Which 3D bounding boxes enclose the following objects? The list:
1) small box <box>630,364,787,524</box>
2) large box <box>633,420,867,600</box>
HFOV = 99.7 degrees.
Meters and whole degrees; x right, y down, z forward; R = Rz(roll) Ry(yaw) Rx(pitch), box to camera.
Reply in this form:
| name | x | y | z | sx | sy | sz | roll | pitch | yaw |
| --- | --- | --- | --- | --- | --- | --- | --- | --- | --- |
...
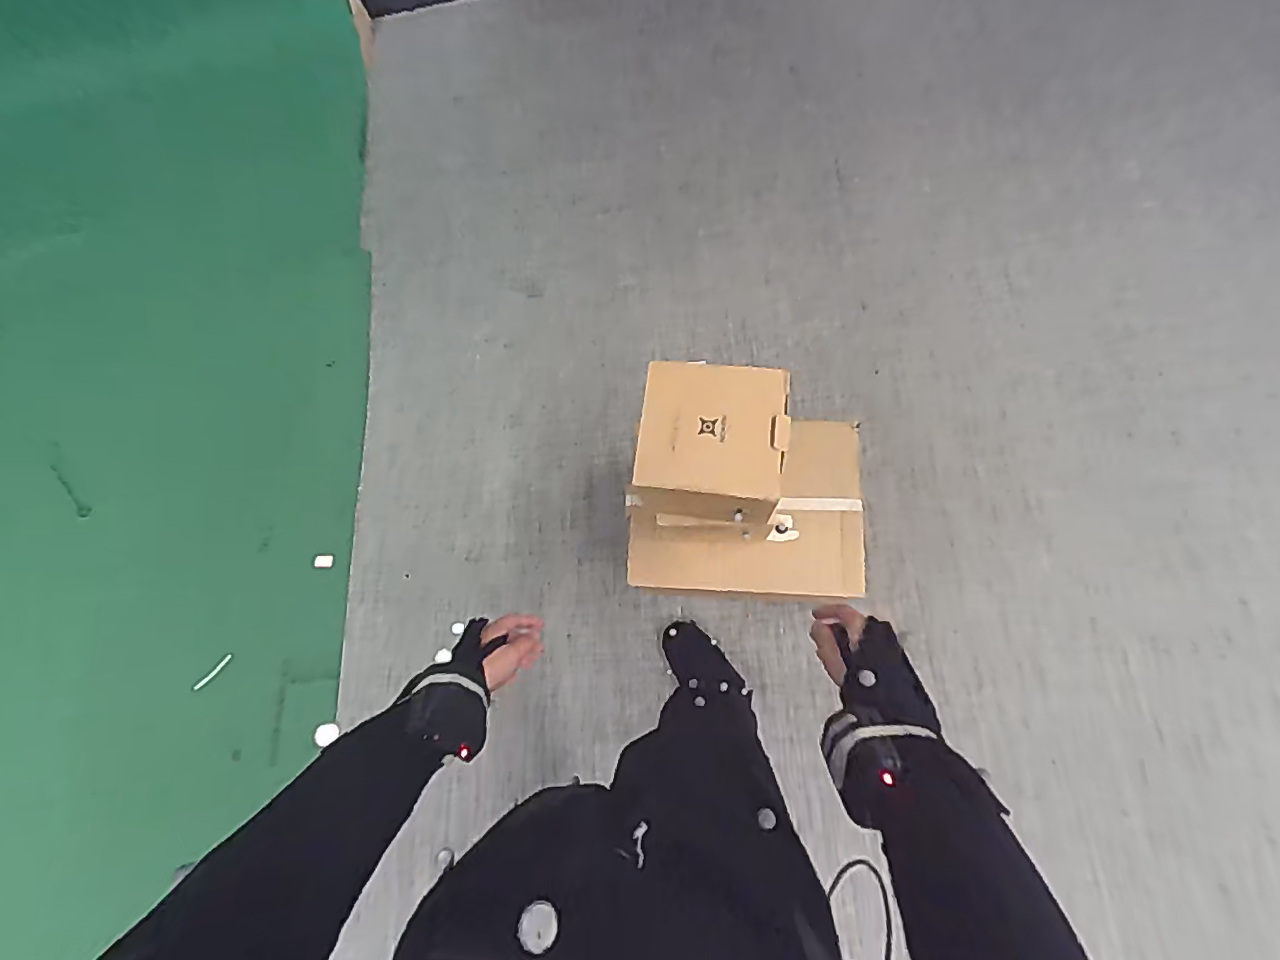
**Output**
| name | x | y | z | sx | sy | sz | roll | pitch | yaw |
| --- | --- | --- | --- | --- | --- | --- | --- | --- | --- |
| small box | 0.093 | -0.040 | 0.725 | 0.179 | 0.176 | 0.168 | 5 | 75 | 10 |
| large box | 0.204 | 0.078 | 1.103 | 0.408 | 0.320 | 0.320 | 1 | 76 | 8 |
